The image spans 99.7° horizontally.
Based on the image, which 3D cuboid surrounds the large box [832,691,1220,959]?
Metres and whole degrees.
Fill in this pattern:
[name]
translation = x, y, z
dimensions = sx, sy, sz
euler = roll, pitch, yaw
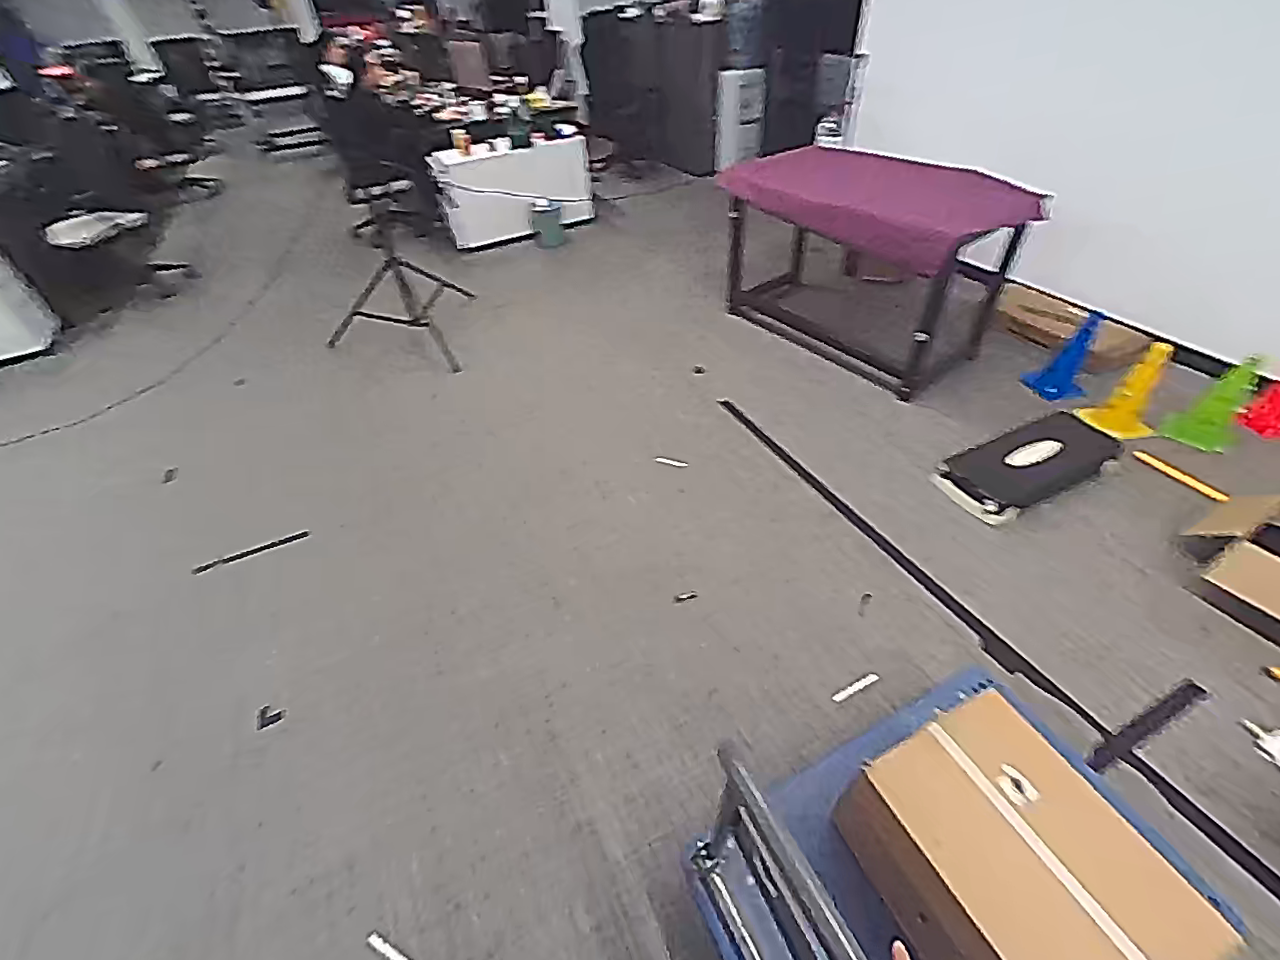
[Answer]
[large box]
translation = 0.613, 0.676, 0.954
dimensions = 0.320, 0.320, 0.408
euler = -20, 45, -16
